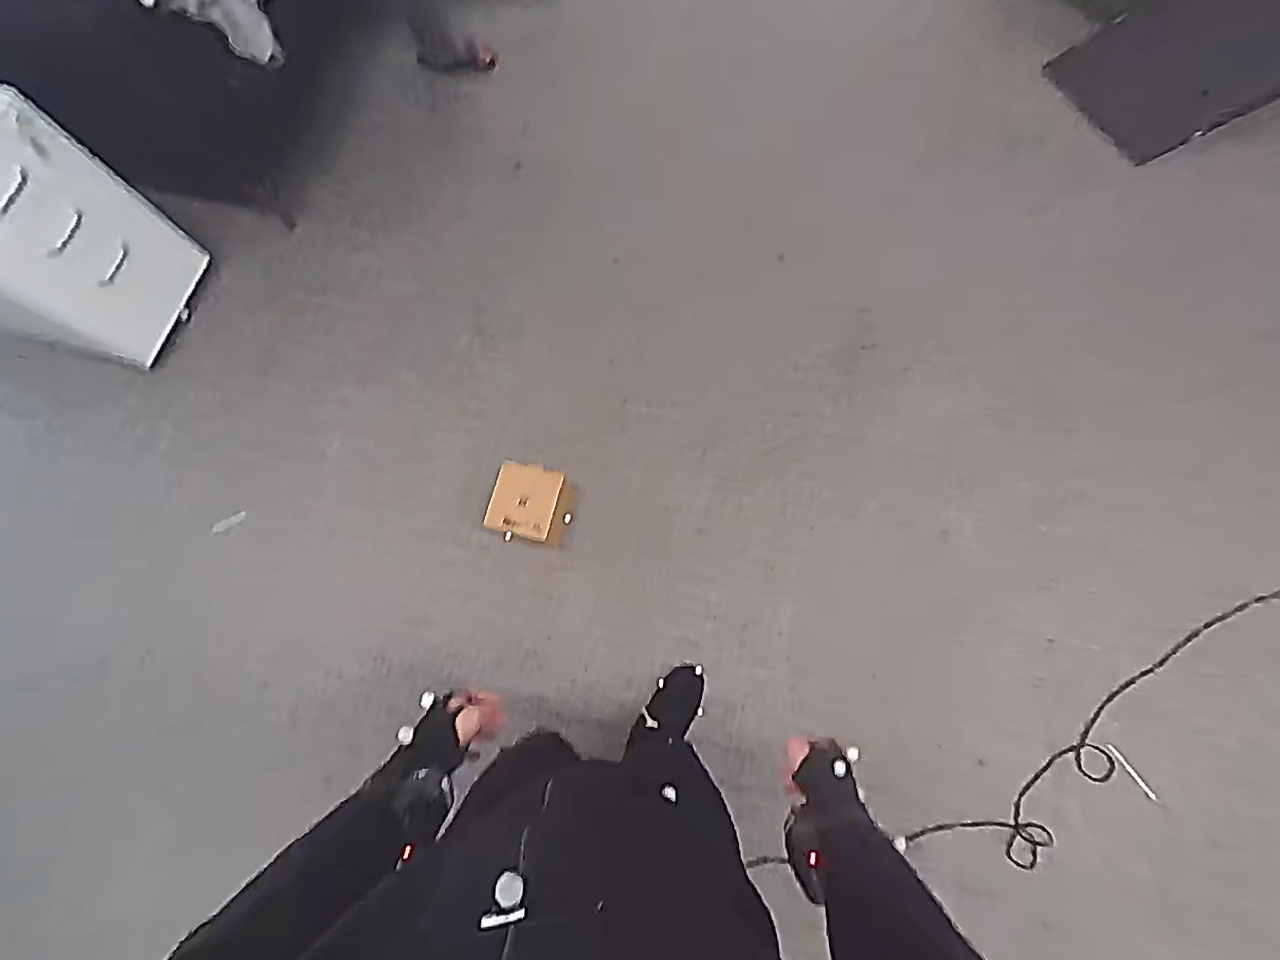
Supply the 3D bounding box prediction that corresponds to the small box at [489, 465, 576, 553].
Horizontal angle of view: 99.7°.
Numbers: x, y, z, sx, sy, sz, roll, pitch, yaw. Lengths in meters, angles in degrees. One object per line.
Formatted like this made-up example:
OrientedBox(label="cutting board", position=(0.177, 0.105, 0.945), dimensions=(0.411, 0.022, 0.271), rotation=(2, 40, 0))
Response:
OrientedBox(label="small box", position=(-0.274, 0.082, 1.437), dimensions=(0.168, 0.176, 0.179), rotation=(13, 74, 7))
